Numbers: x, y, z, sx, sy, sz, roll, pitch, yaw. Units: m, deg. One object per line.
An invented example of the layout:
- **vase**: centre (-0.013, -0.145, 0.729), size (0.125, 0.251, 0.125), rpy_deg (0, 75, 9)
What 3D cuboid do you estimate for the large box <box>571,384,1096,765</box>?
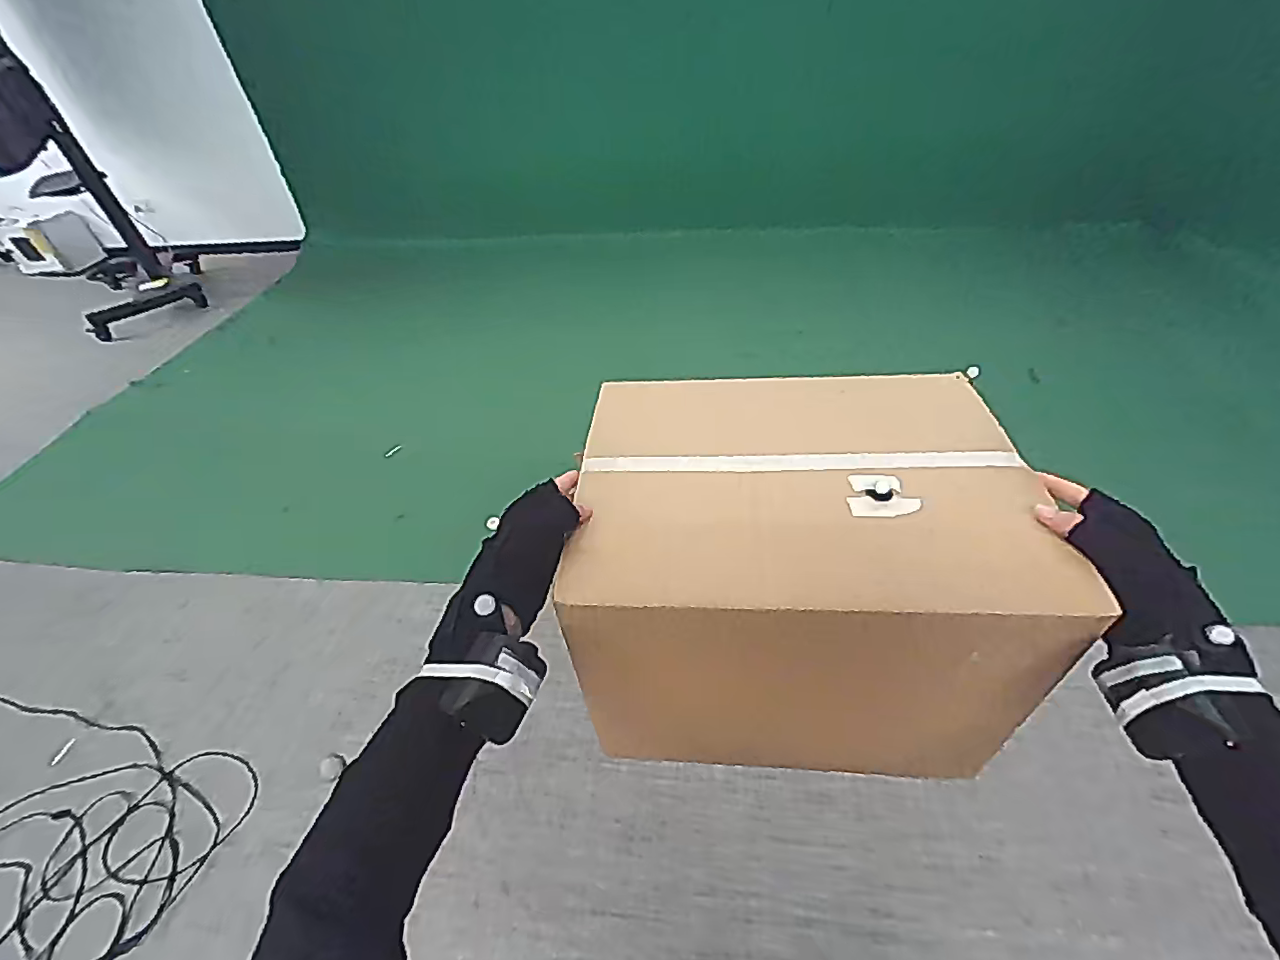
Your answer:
- **large box**: centre (0.158, 0.105, 0.621), size (0.408, 0.320, 0.320), rpy_deg (0, 43, 6)
